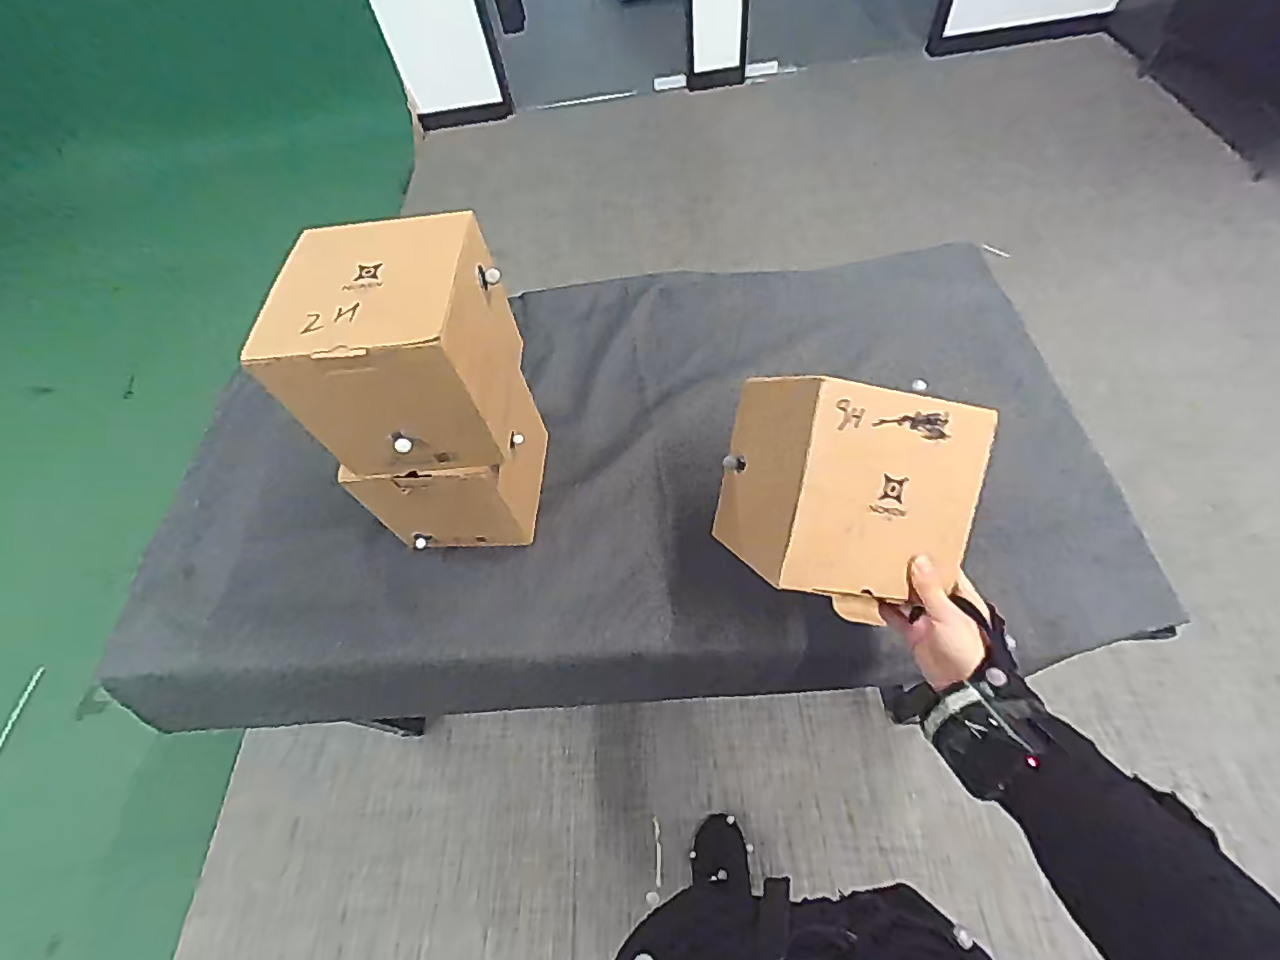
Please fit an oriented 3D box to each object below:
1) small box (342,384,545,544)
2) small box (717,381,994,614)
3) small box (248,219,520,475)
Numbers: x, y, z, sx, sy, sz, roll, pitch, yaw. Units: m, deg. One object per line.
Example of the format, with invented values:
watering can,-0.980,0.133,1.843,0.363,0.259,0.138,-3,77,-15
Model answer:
small box,-0.223,-0.029,0.671,0.168,0.176,0.179,-2,57,6
small box,0.186,0.007,0.523,0.168,0.176,0.179,9,98,-13
small box,-0.226,-0.125,0.536,0.168,0.176,0.179,-5,57,5
